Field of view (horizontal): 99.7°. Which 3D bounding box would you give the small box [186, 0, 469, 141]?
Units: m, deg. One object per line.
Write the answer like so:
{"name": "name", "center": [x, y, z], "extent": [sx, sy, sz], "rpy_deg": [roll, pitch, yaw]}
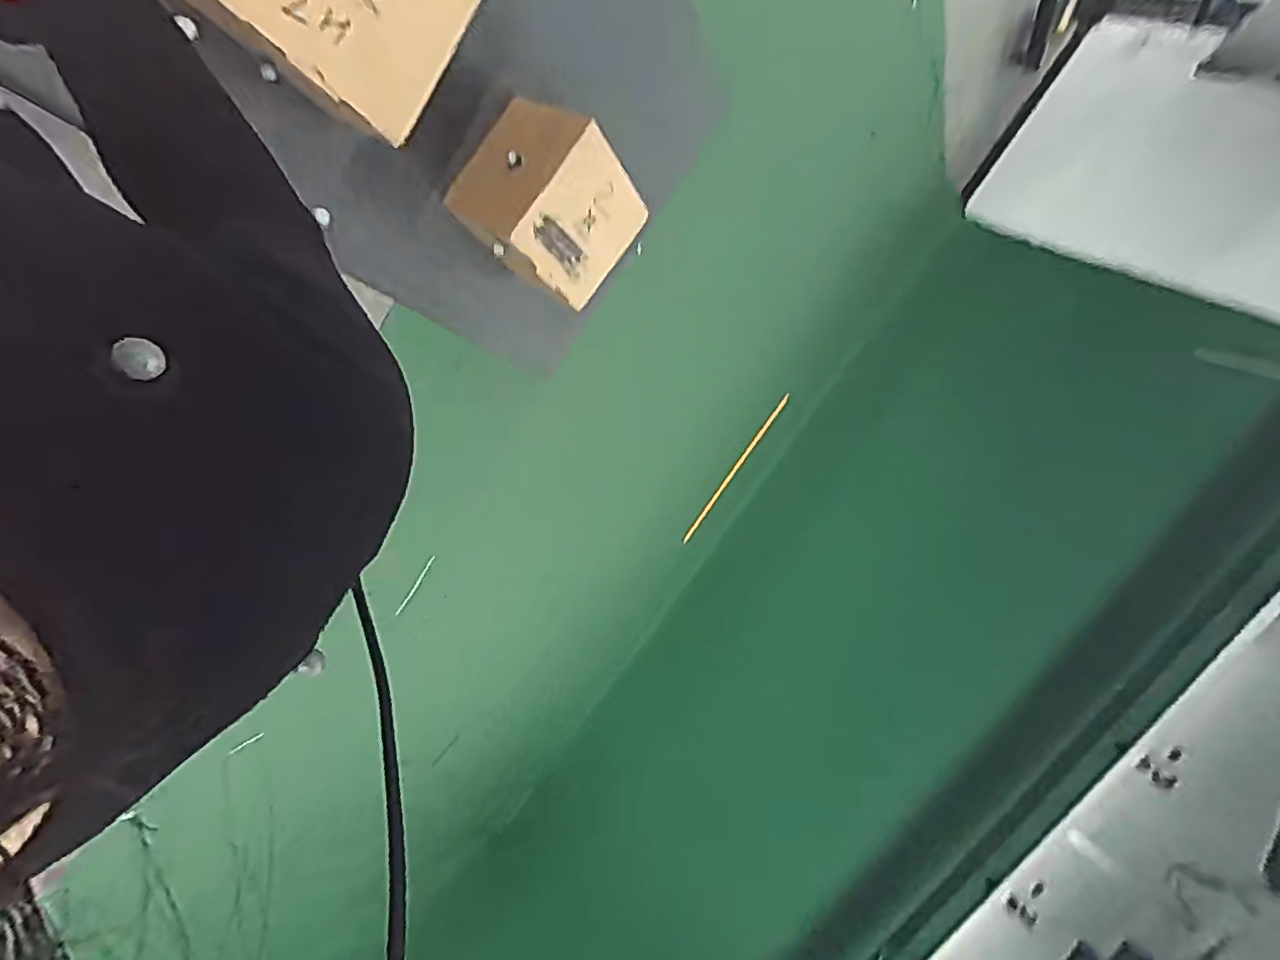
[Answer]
{"name": "small box", "center": [-0.287, -0.453, 0.477], "extent": [0.179, 0.176, 0.168], "rpy_deg": [-55, 151, 7]}
